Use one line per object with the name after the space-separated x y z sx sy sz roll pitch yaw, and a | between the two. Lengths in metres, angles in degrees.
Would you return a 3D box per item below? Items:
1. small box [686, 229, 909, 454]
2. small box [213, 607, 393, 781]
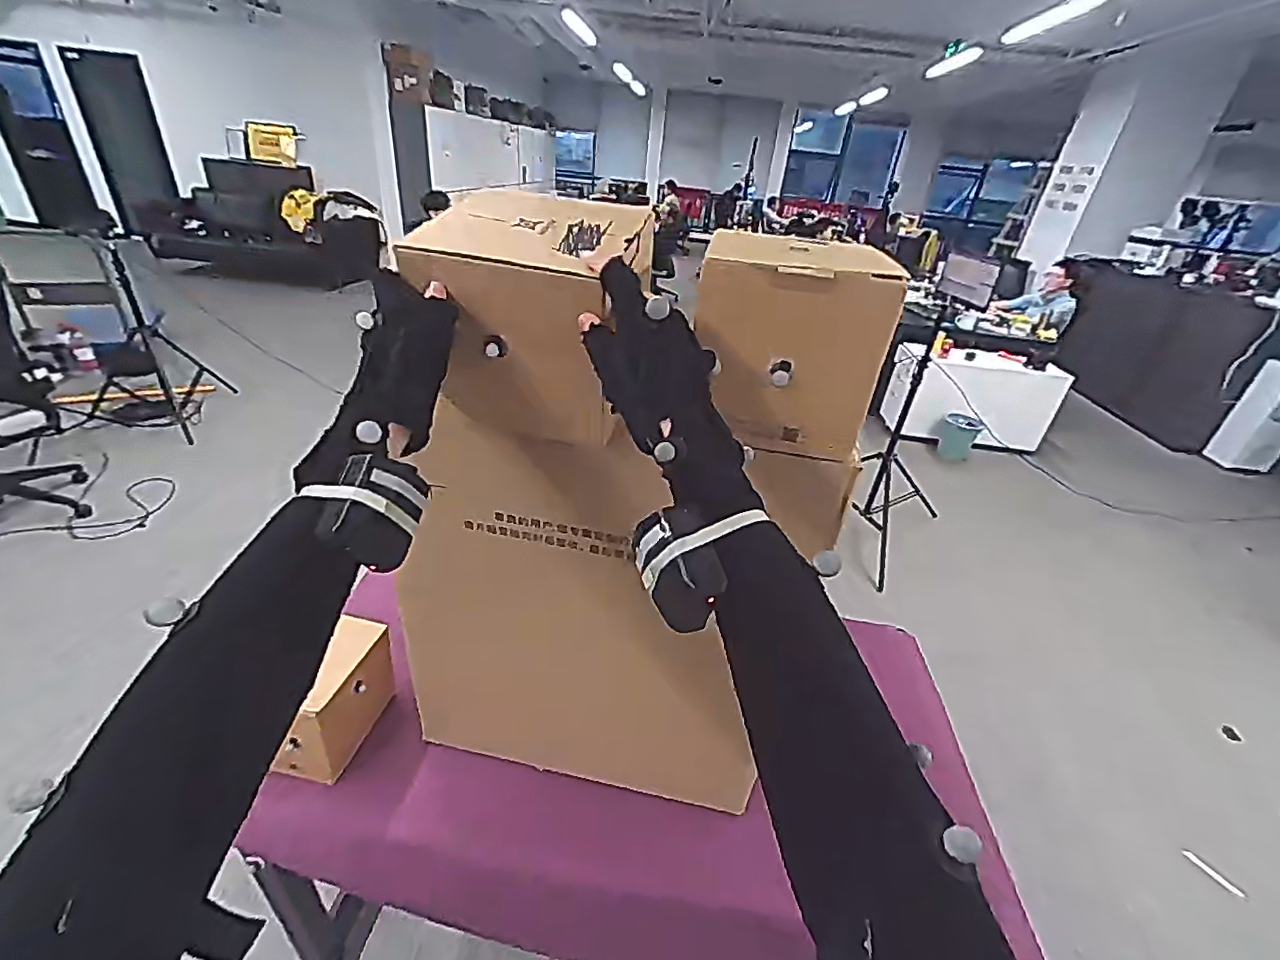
0.143 -0.144 0.548 0.168 0.176 0.179 10 33 6 | small box
-0.507 0.334 0.849 0.168 0.176 0.179 12 28 4 | small box
